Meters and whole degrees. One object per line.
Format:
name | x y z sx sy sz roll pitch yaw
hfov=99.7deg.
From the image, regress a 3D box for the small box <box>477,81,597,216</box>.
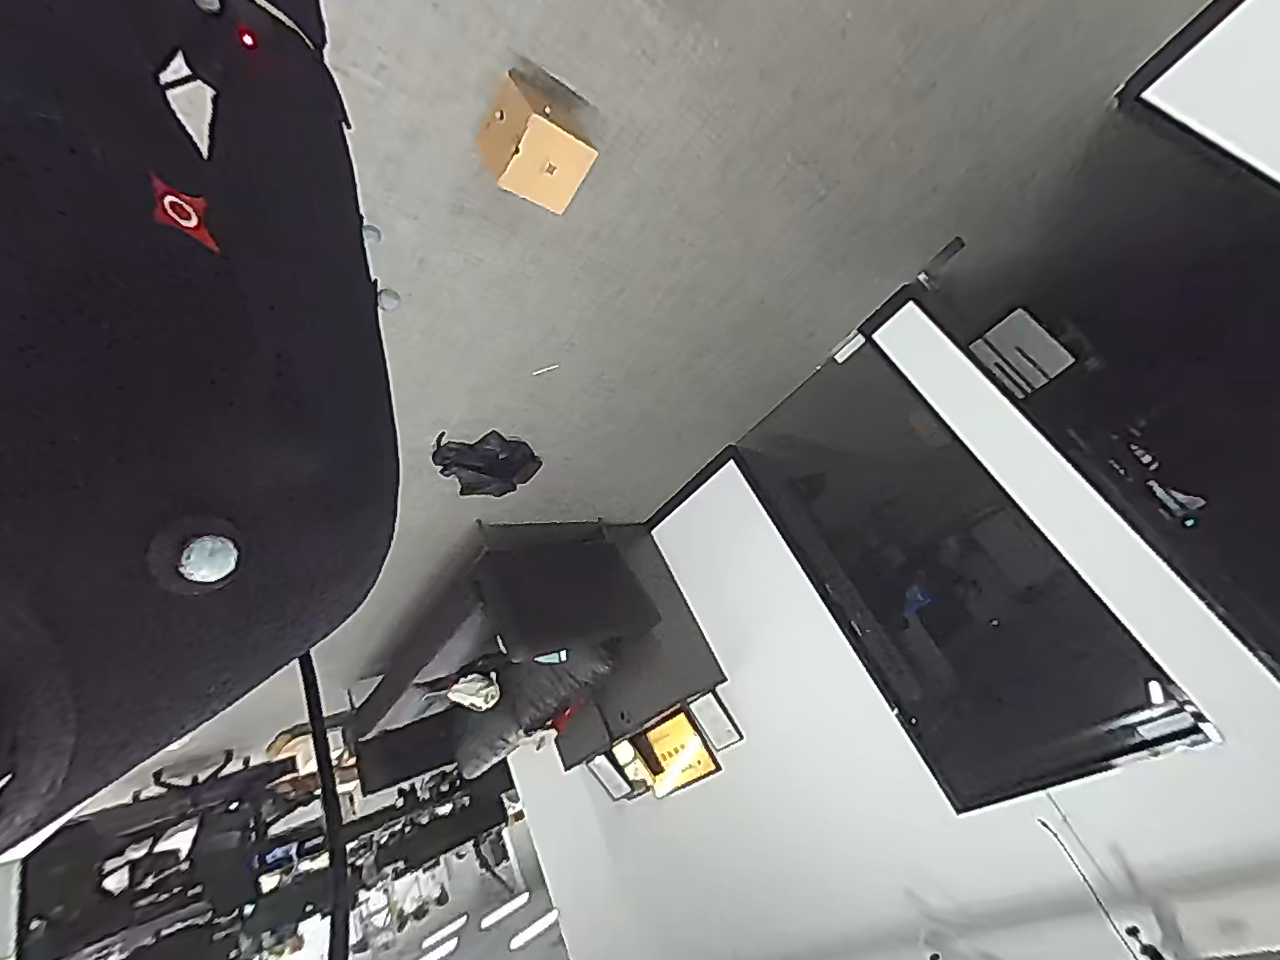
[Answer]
small box | -0.231 -0.733 1.200 0.179 0.176 0.168 2 142 -46
